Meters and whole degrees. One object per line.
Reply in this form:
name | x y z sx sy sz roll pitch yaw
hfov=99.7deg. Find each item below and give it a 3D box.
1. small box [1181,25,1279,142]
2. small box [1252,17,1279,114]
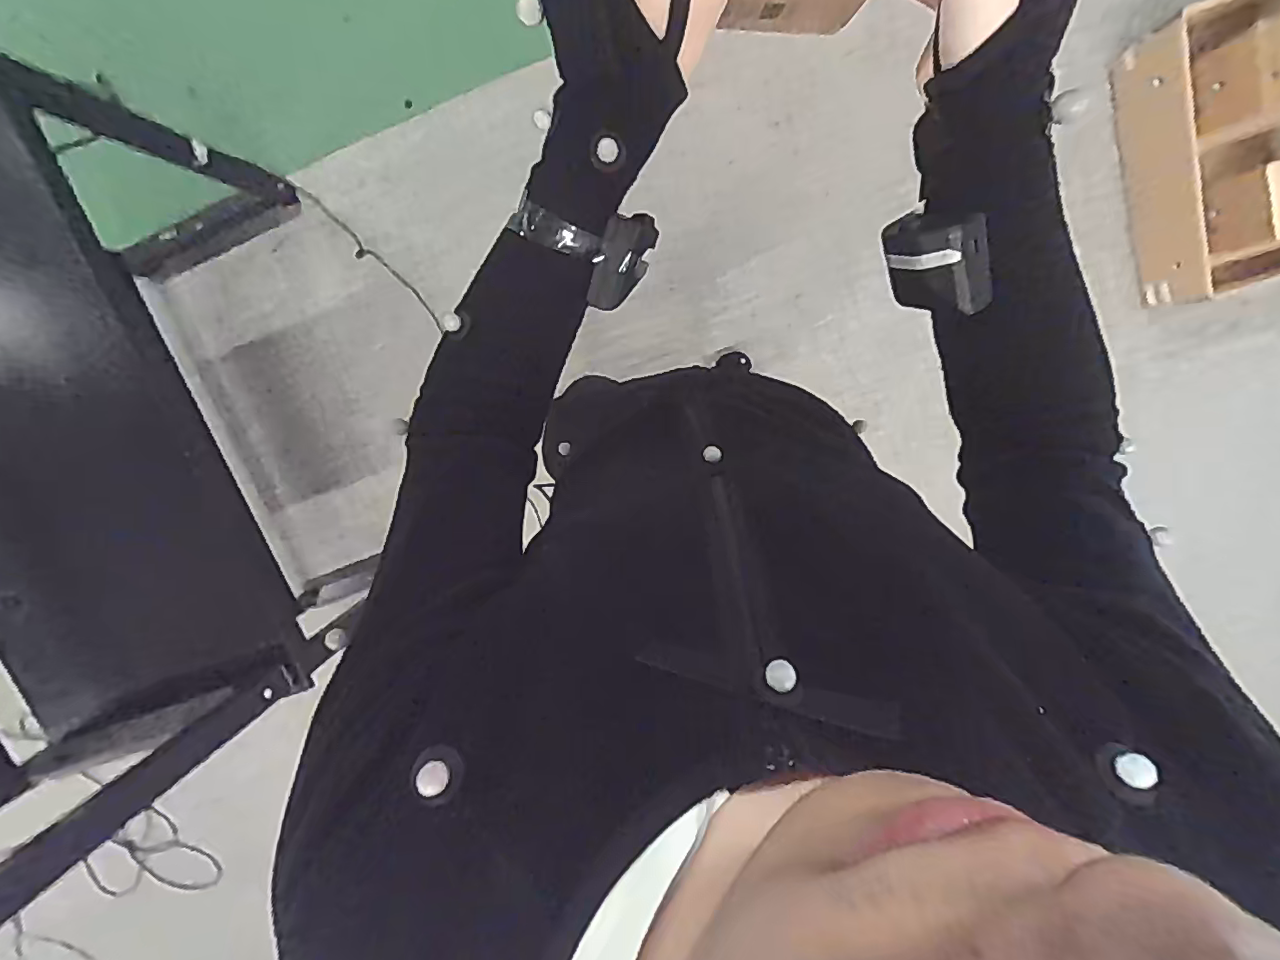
small box | 1.358 -0.887 1.196 0.179 0.176 0.168 -17 101 7
small box | 1.346 -0.850 1.039 0.179 0.176 0.168 -18 100 8
